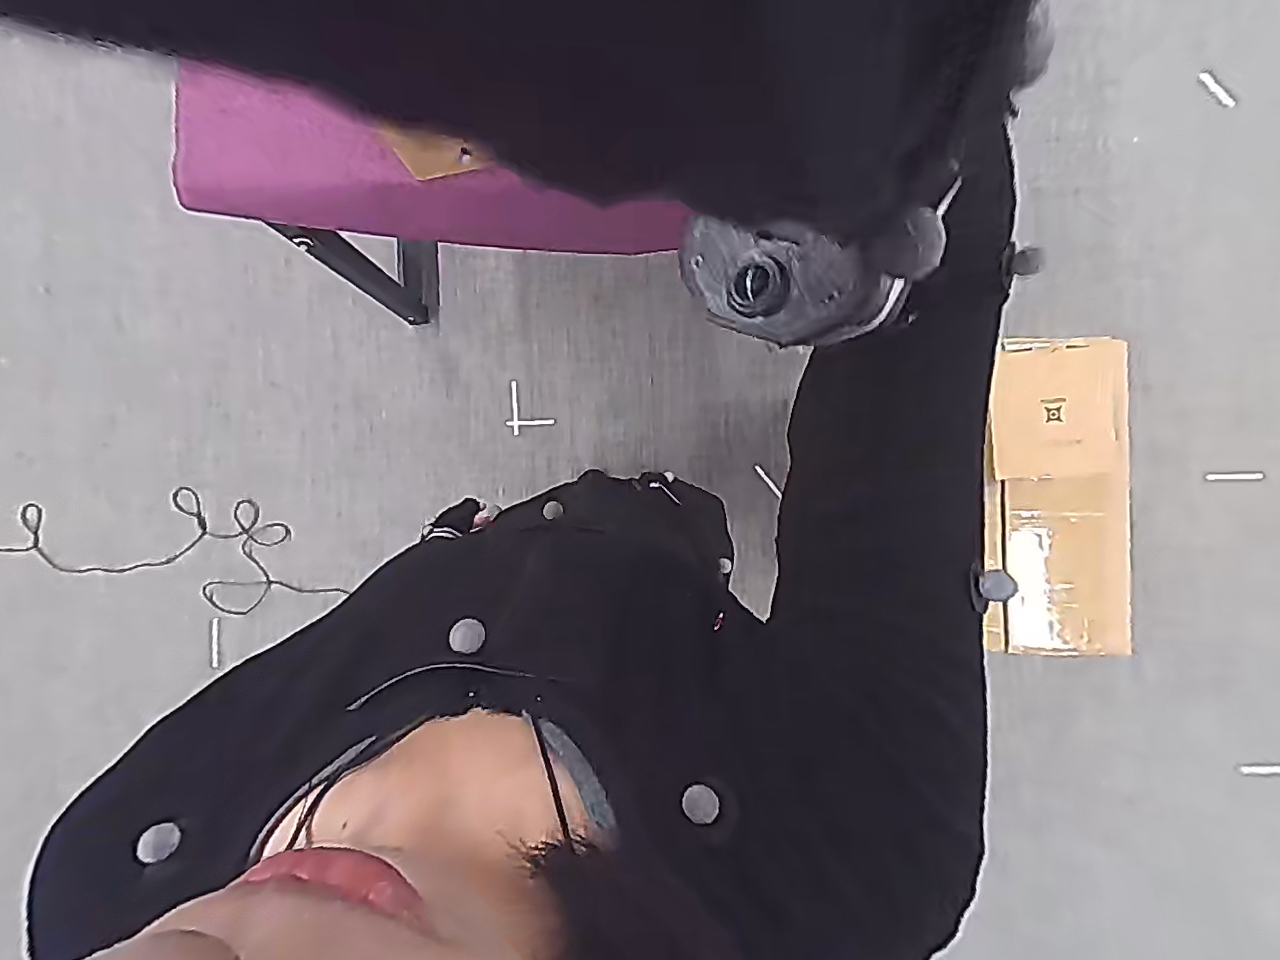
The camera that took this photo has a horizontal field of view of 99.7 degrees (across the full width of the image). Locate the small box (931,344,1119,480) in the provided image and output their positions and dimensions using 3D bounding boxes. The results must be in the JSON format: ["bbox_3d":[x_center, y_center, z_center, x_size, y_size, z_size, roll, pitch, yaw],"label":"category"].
[{"bbox_3d":[0.557,-0.091,0.806,0.168,0.176,0.179,-4,90,3],"label":"small box"}]
